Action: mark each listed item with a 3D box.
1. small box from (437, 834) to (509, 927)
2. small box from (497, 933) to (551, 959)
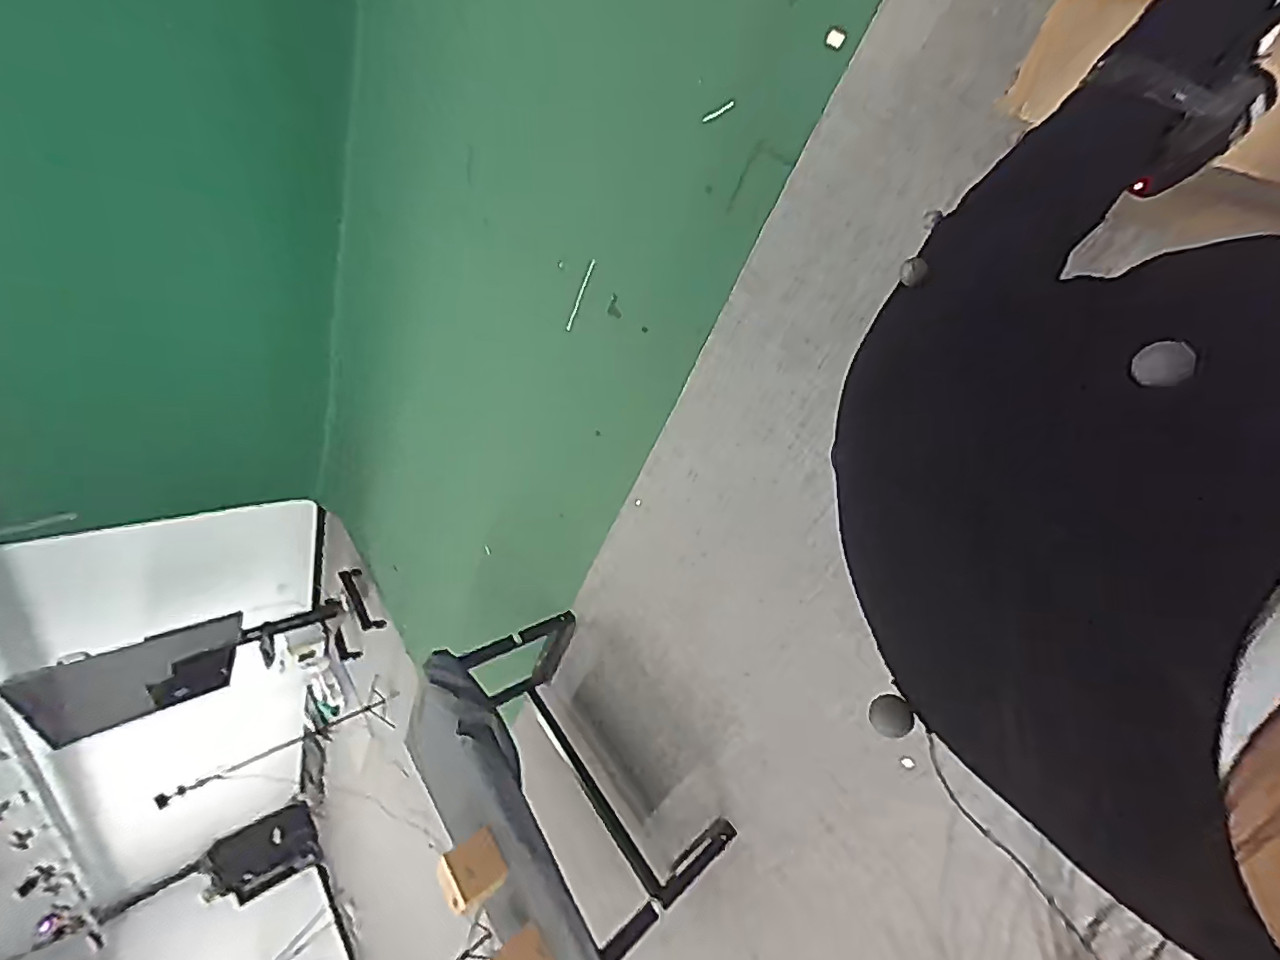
[{"bbox_3d":[-0.581,1.394,1.888,0.179,0.176,0.168,46,127,29],"label":"small box"},{"bbox_3d":[-0.378,1.611,1.734,0.179,0.176,0.168,43,126,31],"label":"small box"}]
